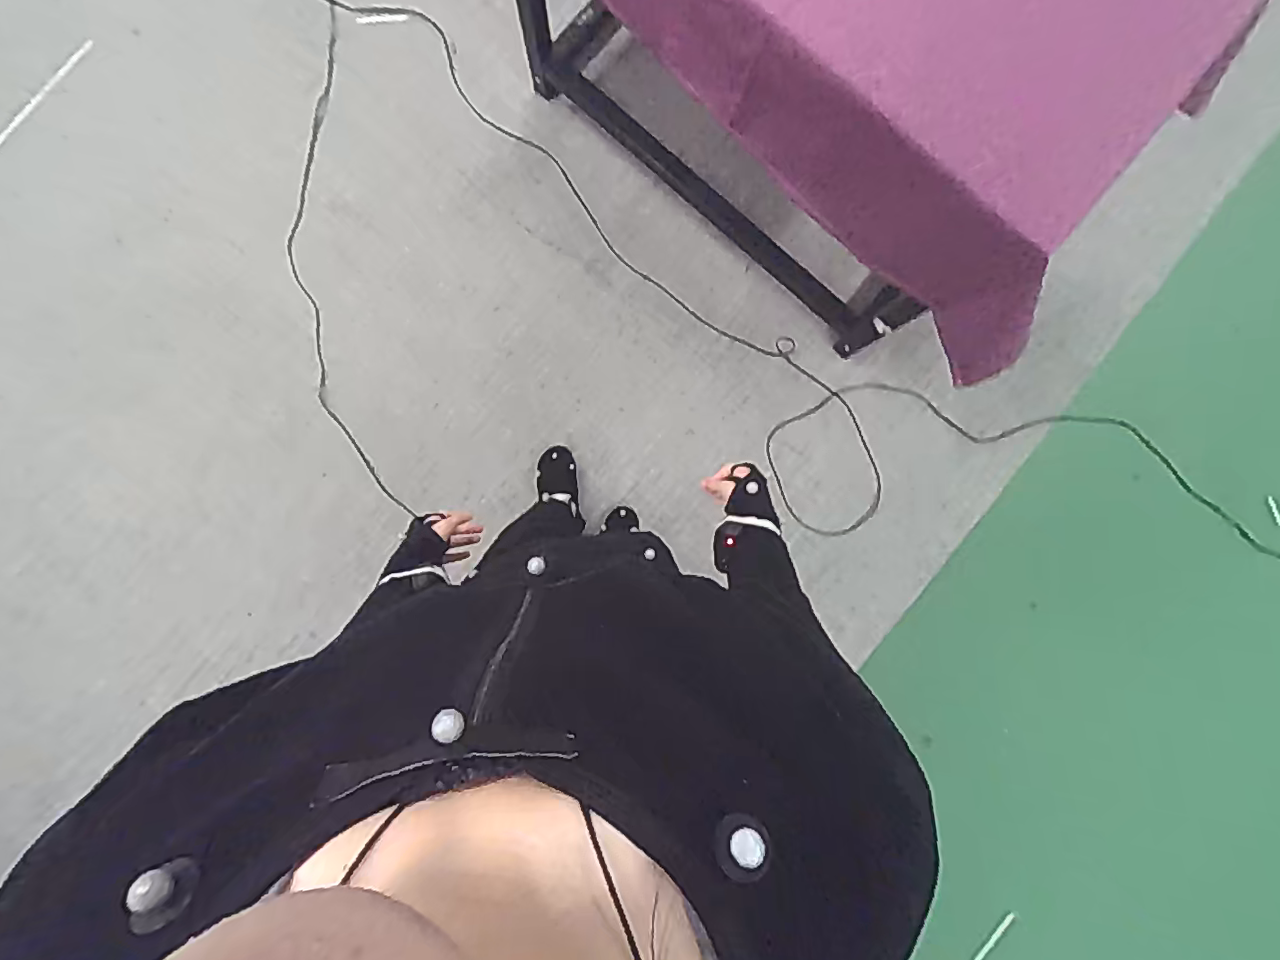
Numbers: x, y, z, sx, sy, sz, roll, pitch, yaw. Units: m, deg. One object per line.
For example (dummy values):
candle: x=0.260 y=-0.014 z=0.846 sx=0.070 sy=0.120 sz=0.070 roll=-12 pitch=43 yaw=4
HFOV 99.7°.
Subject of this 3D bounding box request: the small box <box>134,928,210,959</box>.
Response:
small box: x=-1.210 y=1.265 z=1.313 sx=0.168 sy=0.176 sz=0.179 roll=42 pitch=87 yaw=-3
